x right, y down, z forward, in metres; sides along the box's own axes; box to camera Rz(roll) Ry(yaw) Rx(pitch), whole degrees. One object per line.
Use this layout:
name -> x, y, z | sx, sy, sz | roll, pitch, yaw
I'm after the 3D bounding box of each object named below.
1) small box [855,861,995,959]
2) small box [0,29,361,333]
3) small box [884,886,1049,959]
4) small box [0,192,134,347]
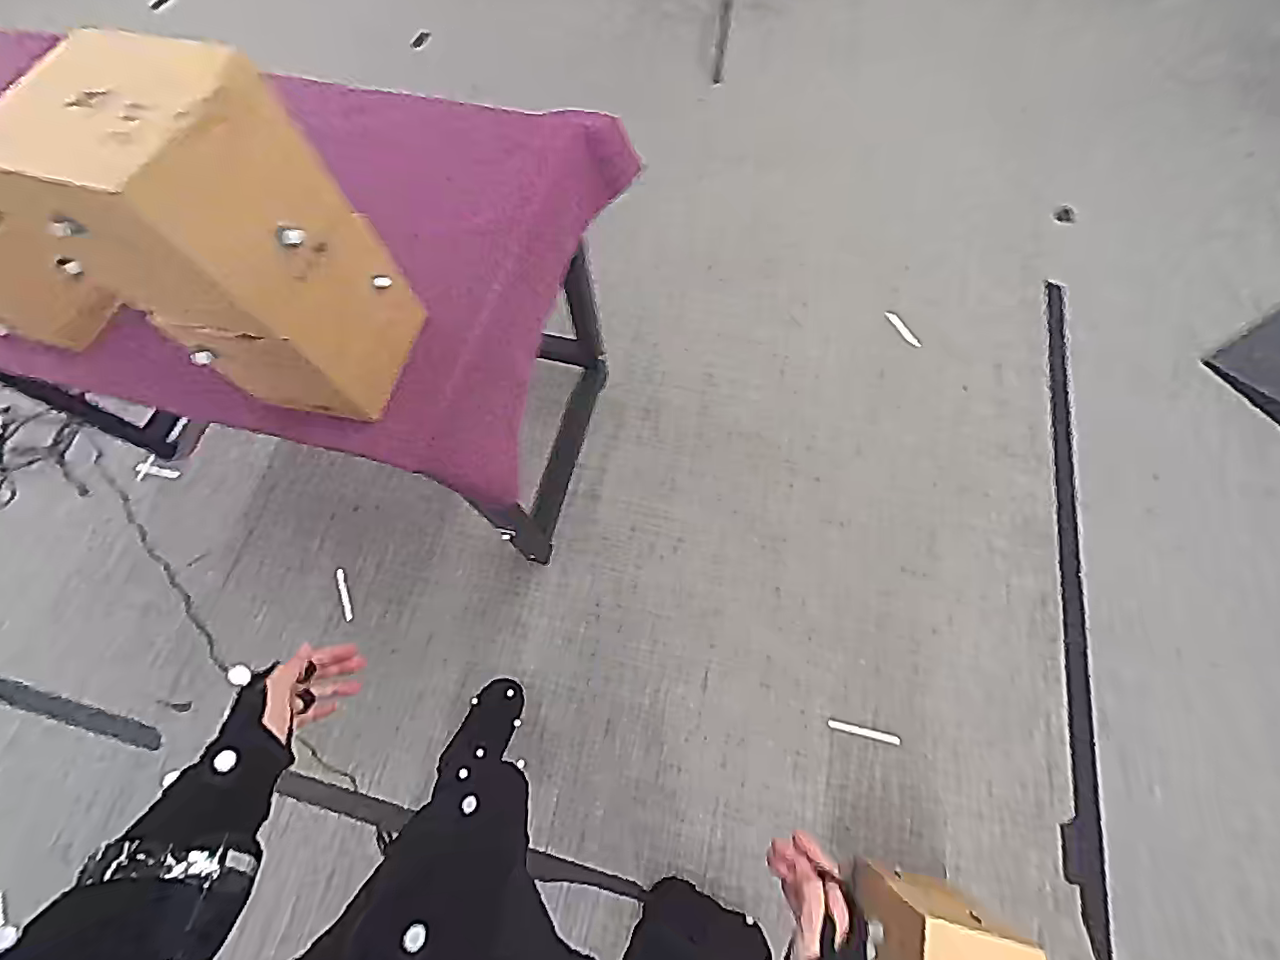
small box -> 0.504, 0.821, 0.976 | 0.179, 0.176, 0.168 | 11, 71, 7
small box -> -0.401, -0.257, 0.488 | 0.179, 0.176, 0.168 | 15, 70, 9
small box -> 0.486, 0.763, 0.825 | 0.168, 0.176, 0.179 | 12, 71, 8
small box -> -0.816, -0.297, 0.707 | 0.179, 0.176, 0.168 | 14, 70, 8
